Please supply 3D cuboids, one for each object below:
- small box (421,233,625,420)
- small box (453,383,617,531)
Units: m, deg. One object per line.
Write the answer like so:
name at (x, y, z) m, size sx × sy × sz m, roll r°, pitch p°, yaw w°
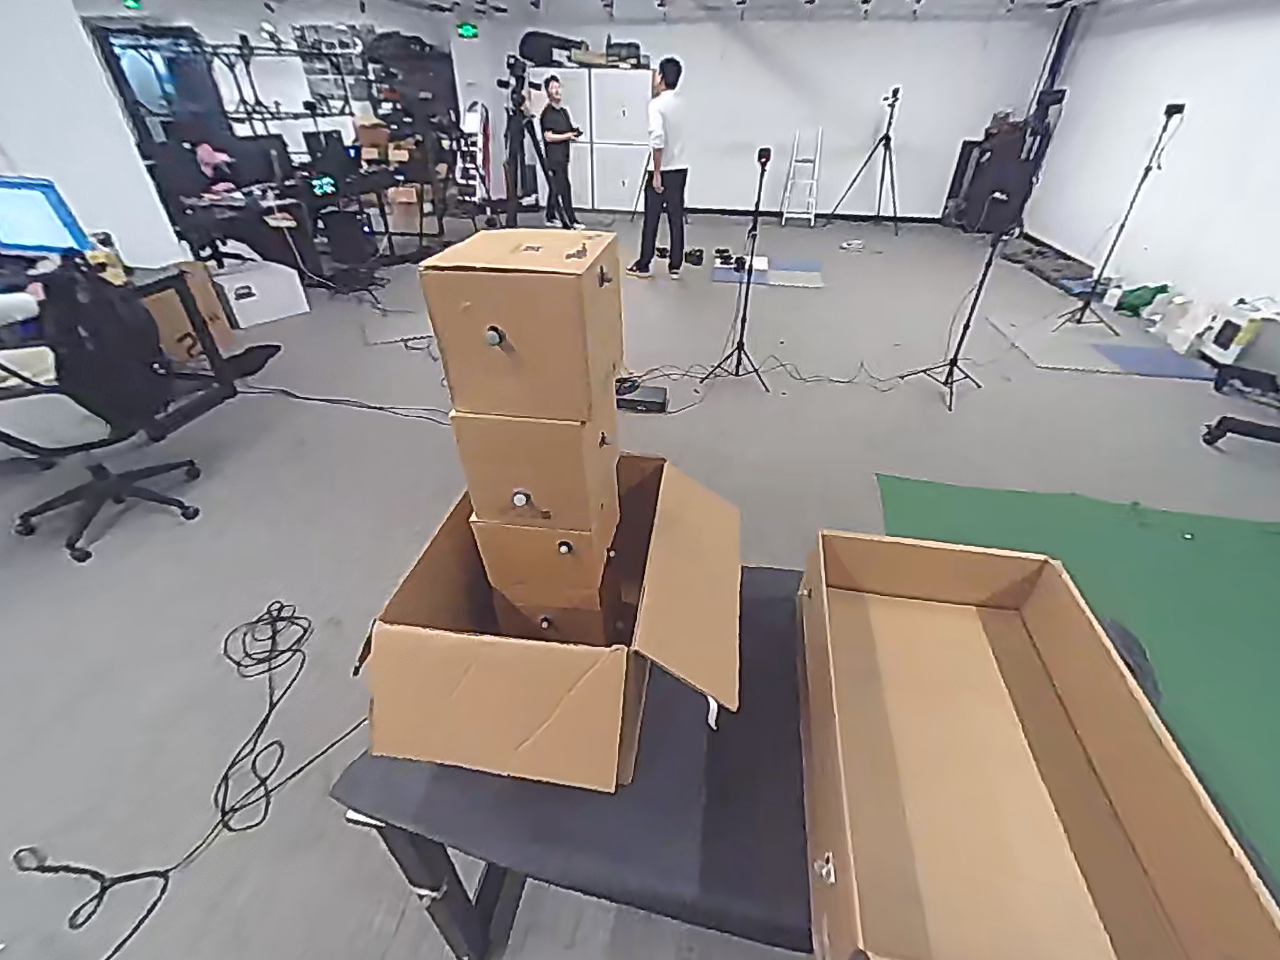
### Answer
small box at (-0.121, -0.184, 0.642) m, size 0.179 × 0.176 × 0.168 m, roll 5°, pitch 38°, yaw 9°
small box at (-0.128, -0.055, 0.743) m, size 0.168 × 0.176 × 0.179 m, roll 5°, pitch 39°, yaw 9°
